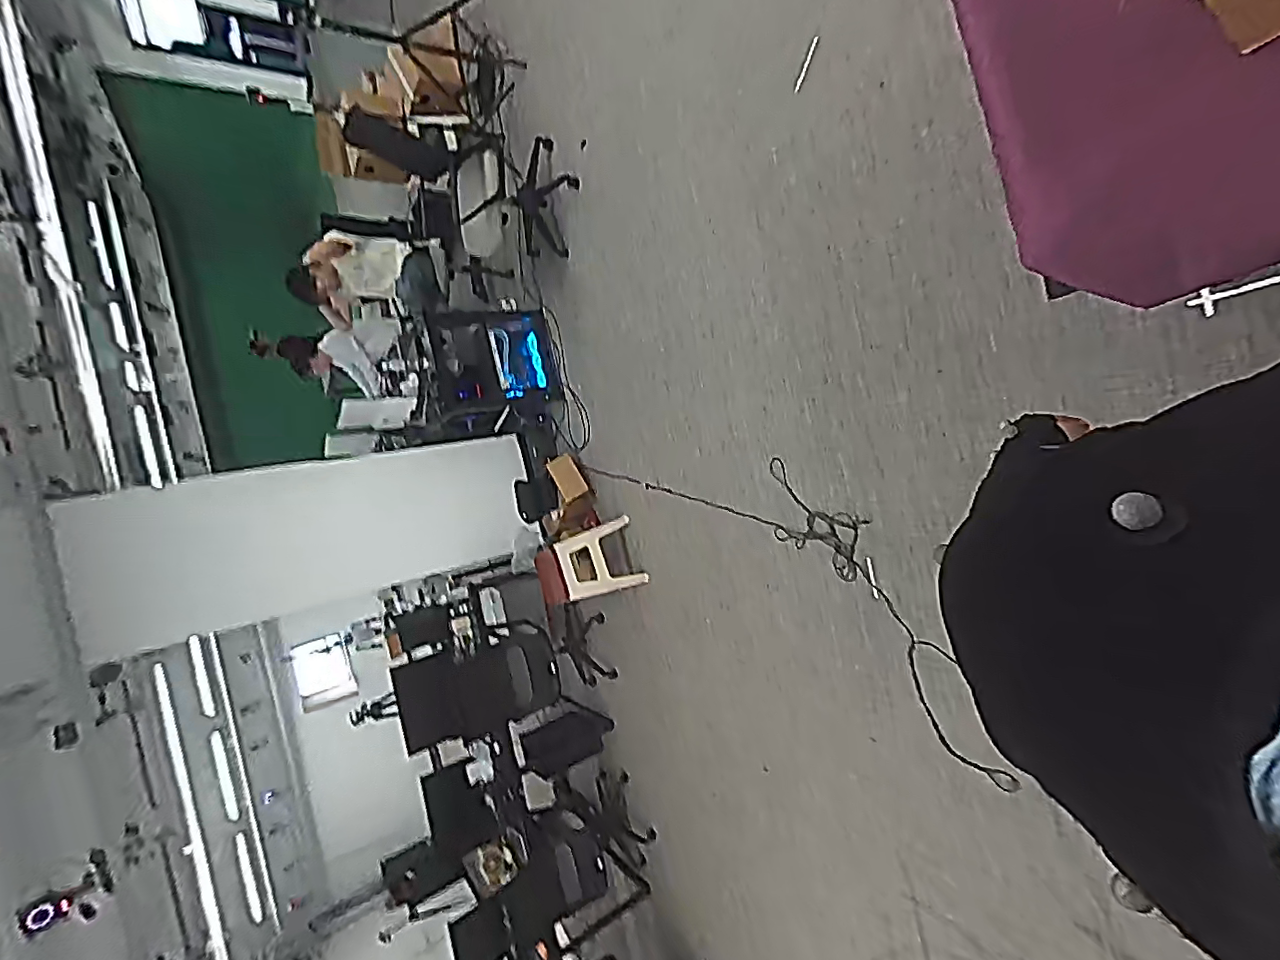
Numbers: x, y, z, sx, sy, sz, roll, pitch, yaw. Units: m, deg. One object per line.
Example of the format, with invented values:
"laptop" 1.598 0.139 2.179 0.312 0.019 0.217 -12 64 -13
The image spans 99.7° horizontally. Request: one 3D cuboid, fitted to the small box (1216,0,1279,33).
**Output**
"small box" 0.511 -0.482 0.389 0.168 0.176 0.179 -19 86 56
